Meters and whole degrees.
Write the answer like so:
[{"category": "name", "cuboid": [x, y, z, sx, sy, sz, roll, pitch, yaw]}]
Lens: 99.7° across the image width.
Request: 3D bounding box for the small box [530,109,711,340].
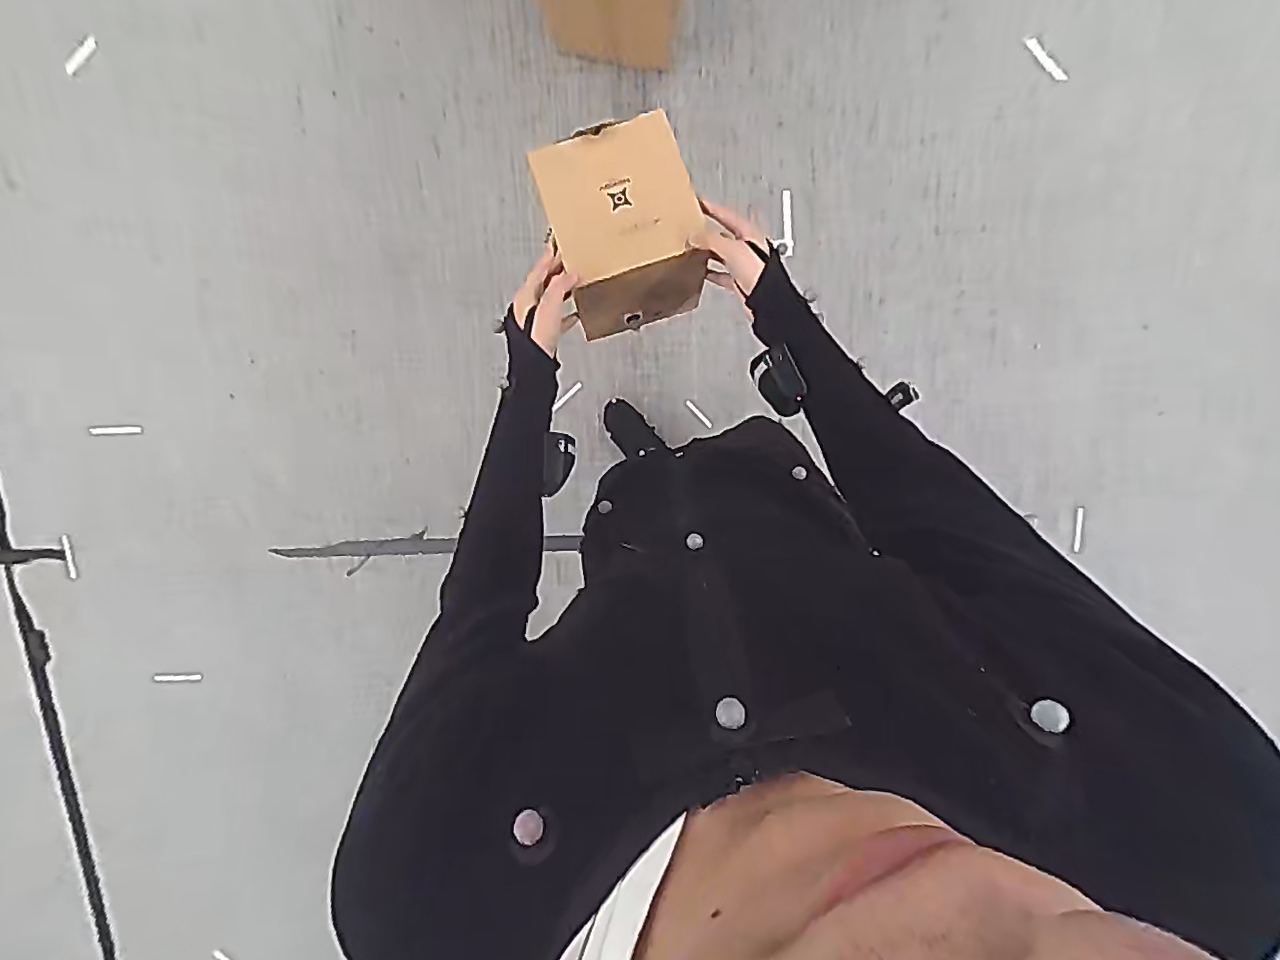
[{"category": "small box", "cuboid": [-0.023, -0.305, 0.678, 0.168, 0.176, 0.179, -18, 83, -1]}]
